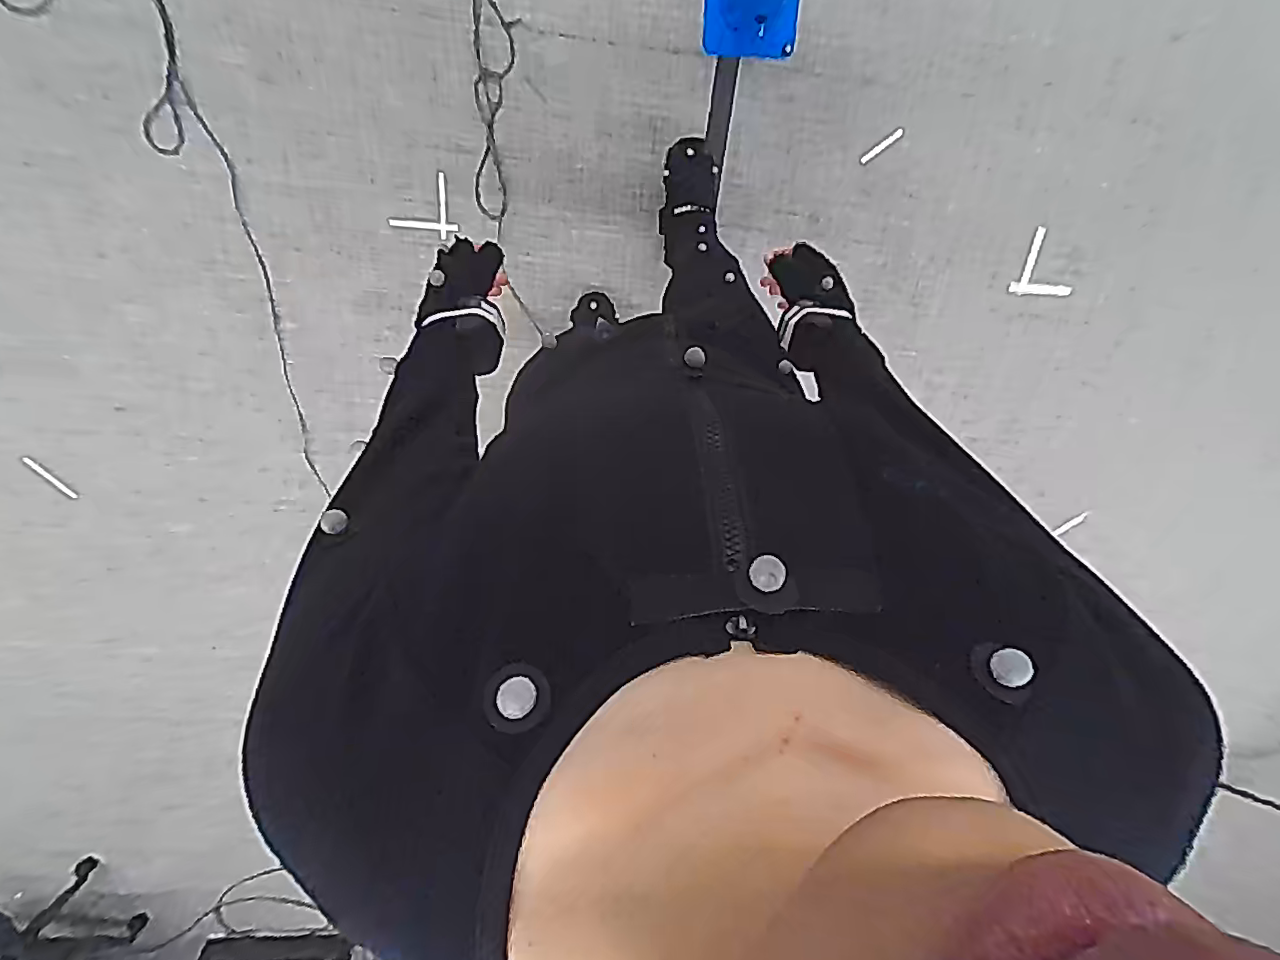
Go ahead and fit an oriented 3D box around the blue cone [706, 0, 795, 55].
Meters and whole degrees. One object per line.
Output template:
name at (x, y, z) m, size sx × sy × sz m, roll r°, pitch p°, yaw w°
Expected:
blue cone at (0.250, -0.933, 0.971) m, size 0.192 × 0.380 × 0.193 m, roll 0°, pitch 114°, yaw -7°
